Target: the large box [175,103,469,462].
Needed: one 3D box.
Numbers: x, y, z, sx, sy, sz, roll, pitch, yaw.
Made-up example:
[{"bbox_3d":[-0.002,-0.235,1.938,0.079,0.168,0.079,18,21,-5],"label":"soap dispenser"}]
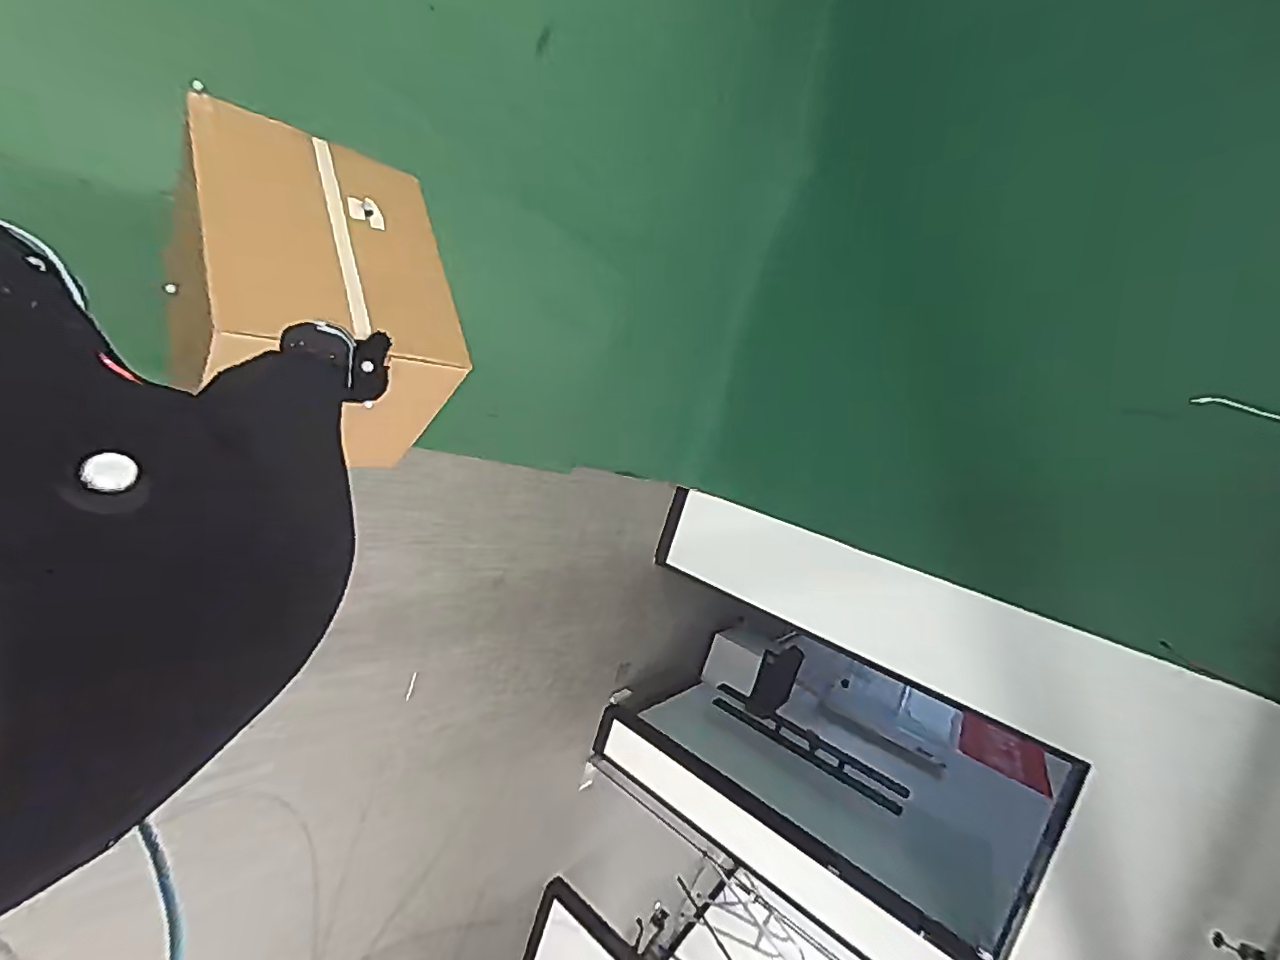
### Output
[{"bbox_3d":[-0.527,-0.272,0.875,0.320,0.408,0.320,0,152,-47],"label":"large box"}]
